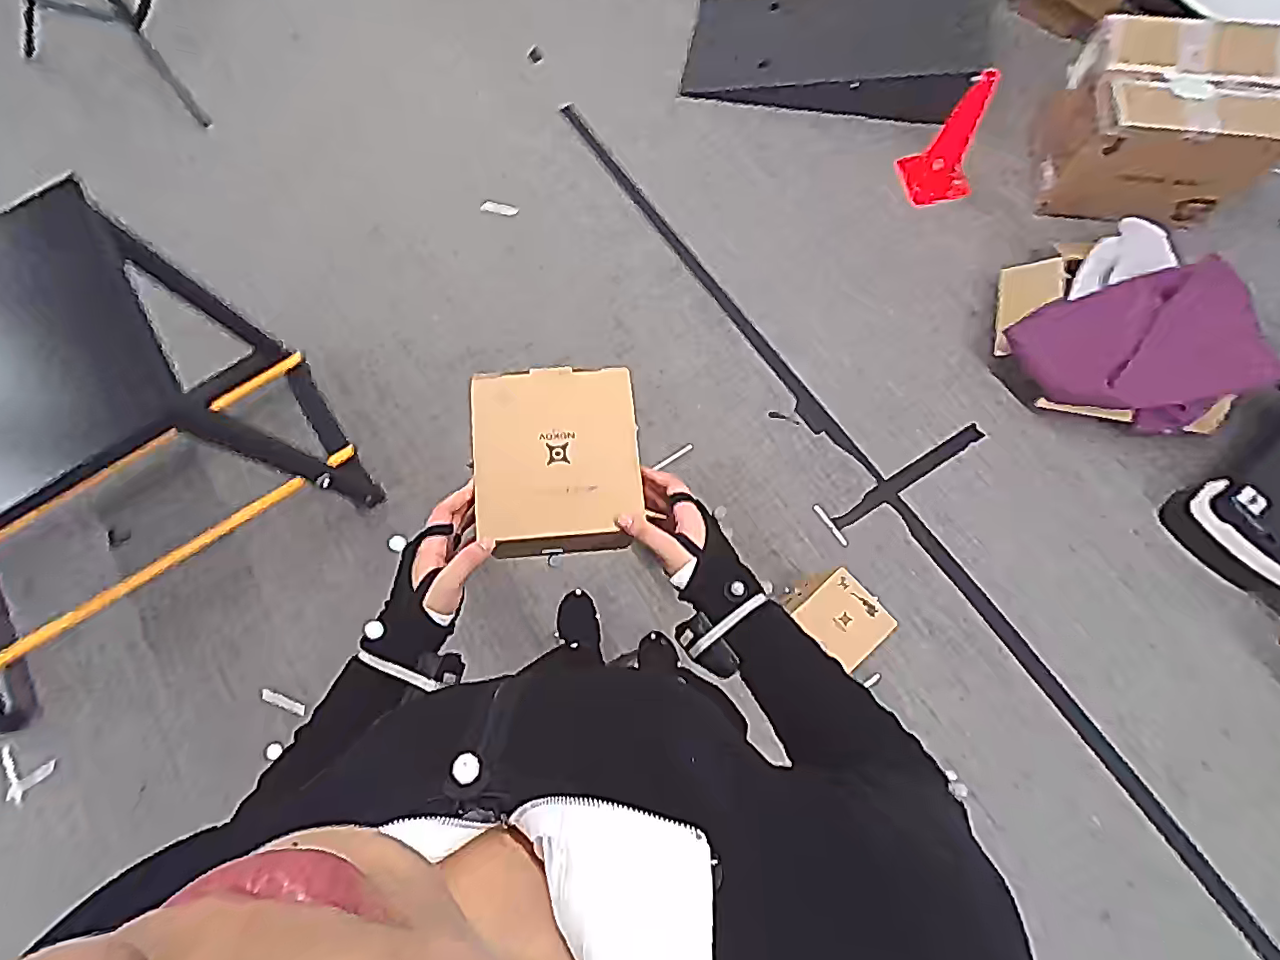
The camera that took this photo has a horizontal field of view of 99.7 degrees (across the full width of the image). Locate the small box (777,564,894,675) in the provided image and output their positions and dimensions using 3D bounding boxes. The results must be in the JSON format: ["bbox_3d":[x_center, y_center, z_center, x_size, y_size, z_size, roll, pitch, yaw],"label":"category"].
[{"bbox_3d":[0.432,0.317,1.233,0.179,0.176,0.168,-40,77,-7],"label":"small box"}]

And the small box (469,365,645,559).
[{"bbox_3d":[-0.095,-0.013,0.617,0.168,0.176,0.179,-6,77,-8],"label":"small box"}]

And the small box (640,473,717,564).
[{"bbox_3d":[0.087,0.112,1.473,0.168,0.176,0.179,-36,77,-6],"label":"small box"}]

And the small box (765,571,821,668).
[{"bbox_3d":[0.448,0.355,1.392,0.168,0.176,0.179,-39,77,-7],"label":"small box"}]
